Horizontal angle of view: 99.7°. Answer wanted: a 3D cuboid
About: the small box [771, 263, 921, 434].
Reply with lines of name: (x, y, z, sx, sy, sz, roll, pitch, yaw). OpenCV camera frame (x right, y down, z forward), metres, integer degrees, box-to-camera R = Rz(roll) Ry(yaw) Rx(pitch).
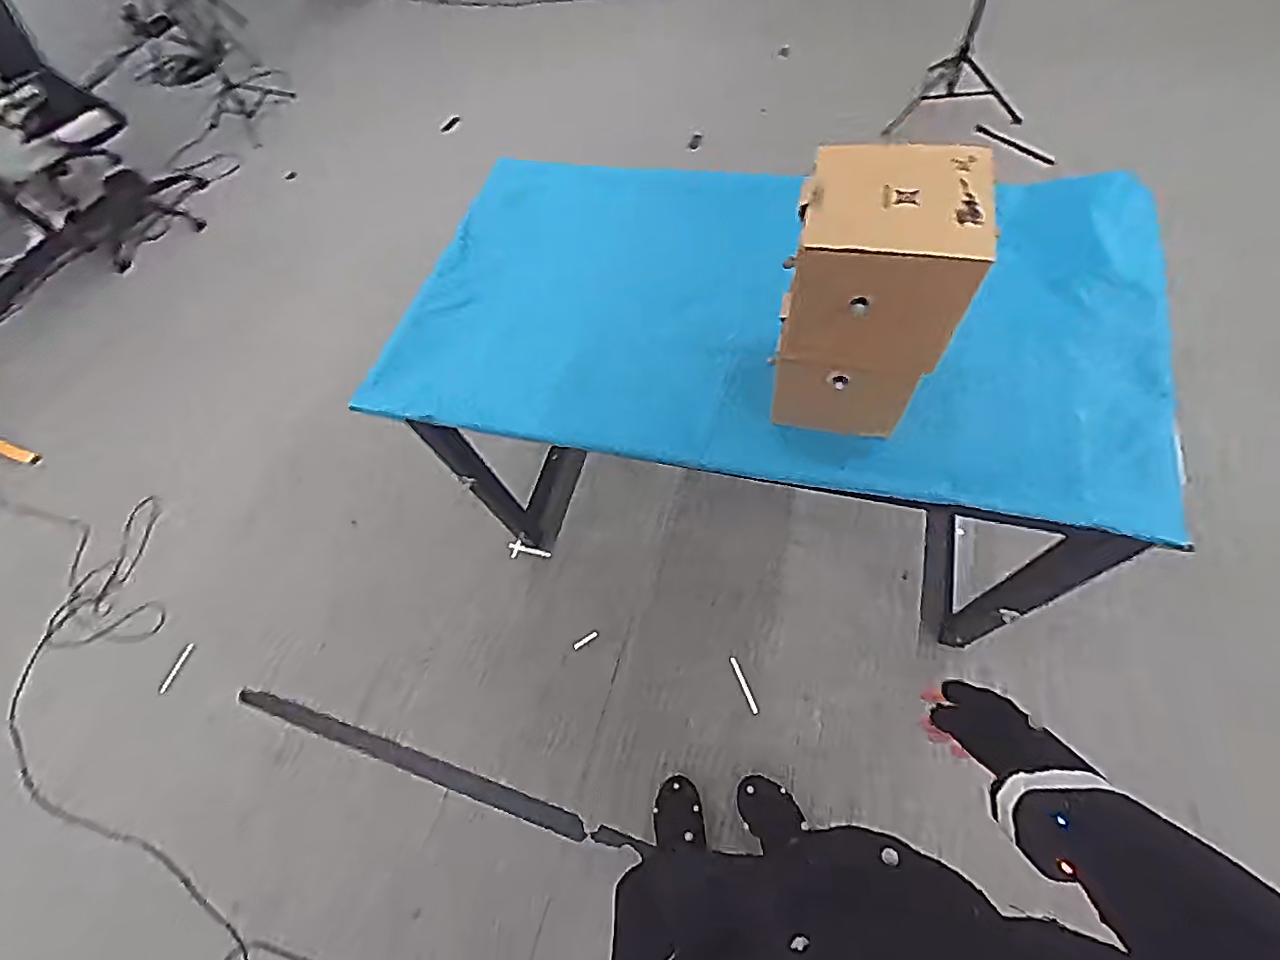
small box: (0.285, -0.181, 0.756, 0.179, 0.176, 0.168, 10, 66, 15)

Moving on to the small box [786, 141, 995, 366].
small box: (0.264, -0.246, 0.609, 0.179, 0.176, 0.168, 7, 65, 13)
